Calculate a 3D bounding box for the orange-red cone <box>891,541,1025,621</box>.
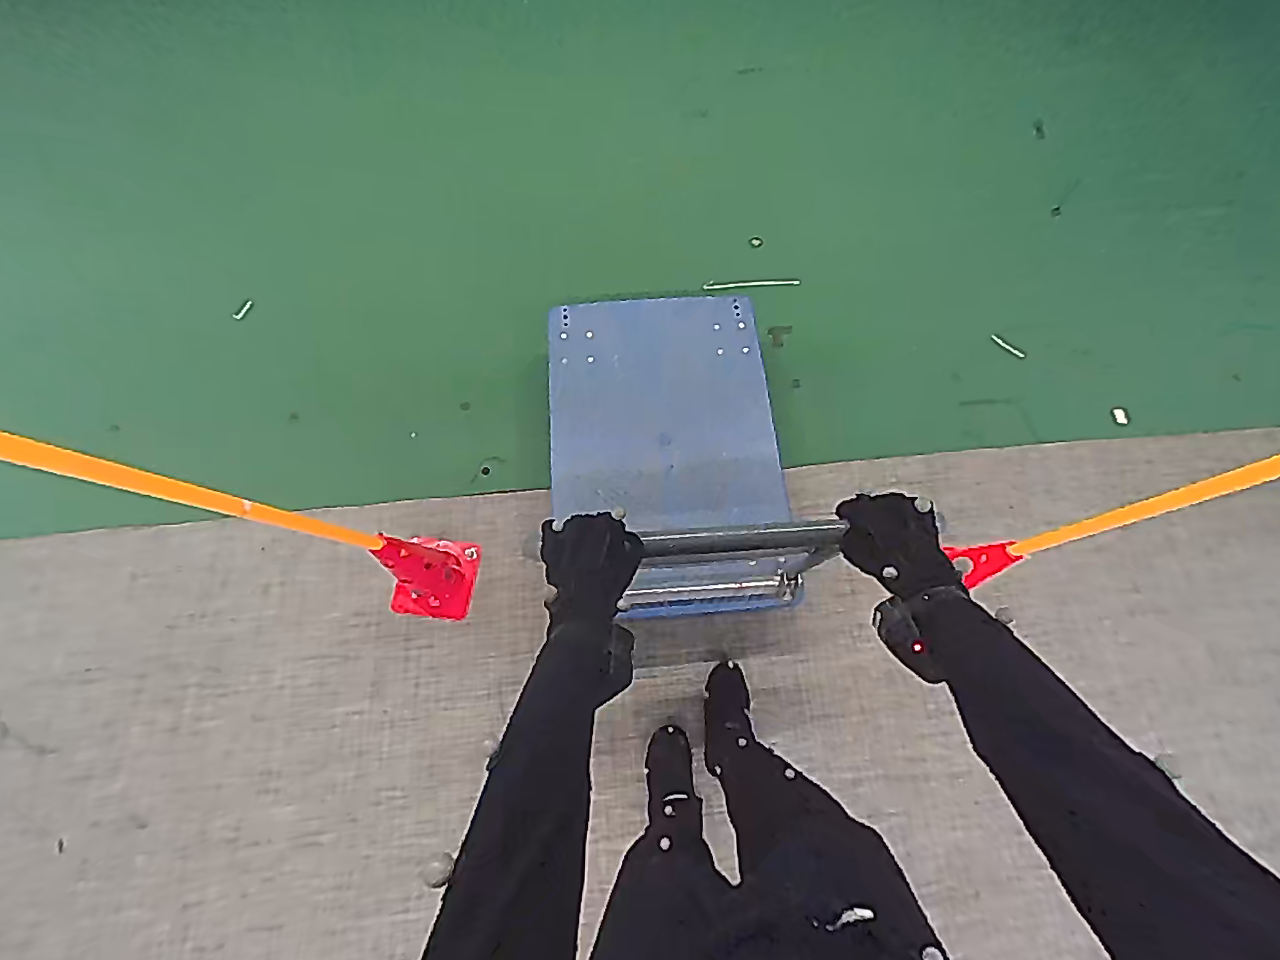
[{"bbox_3d":[0.762,0.204,1.258,0.198,0.360,0.199,5,70,2],"label":"orange-red cone"}]
